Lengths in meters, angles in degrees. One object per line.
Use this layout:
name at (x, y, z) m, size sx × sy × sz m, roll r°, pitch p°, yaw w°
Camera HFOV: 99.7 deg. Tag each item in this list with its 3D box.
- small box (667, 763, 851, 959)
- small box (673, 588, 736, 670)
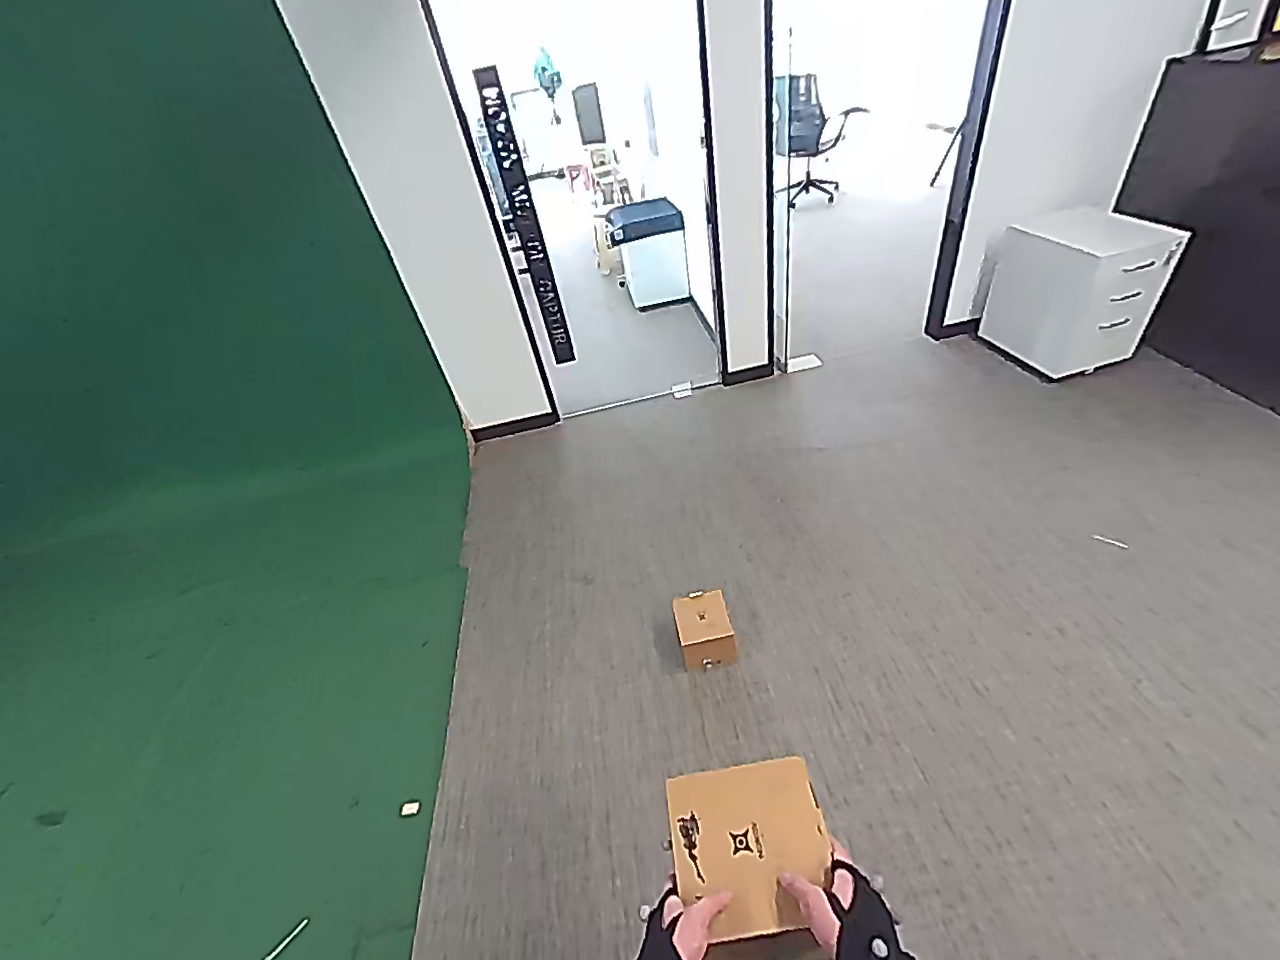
small box at (0.135, 0.474, 0.657) m, size 0.179 × 0.176 × 0.168 m, roll -10°, pitch 37°, yaw 3°
small box at (0.205, 0.478, 1.732) m, size 0.168 × 0.176 × 0.179 m, roll -12°, pitch 40°, yaw 3°
